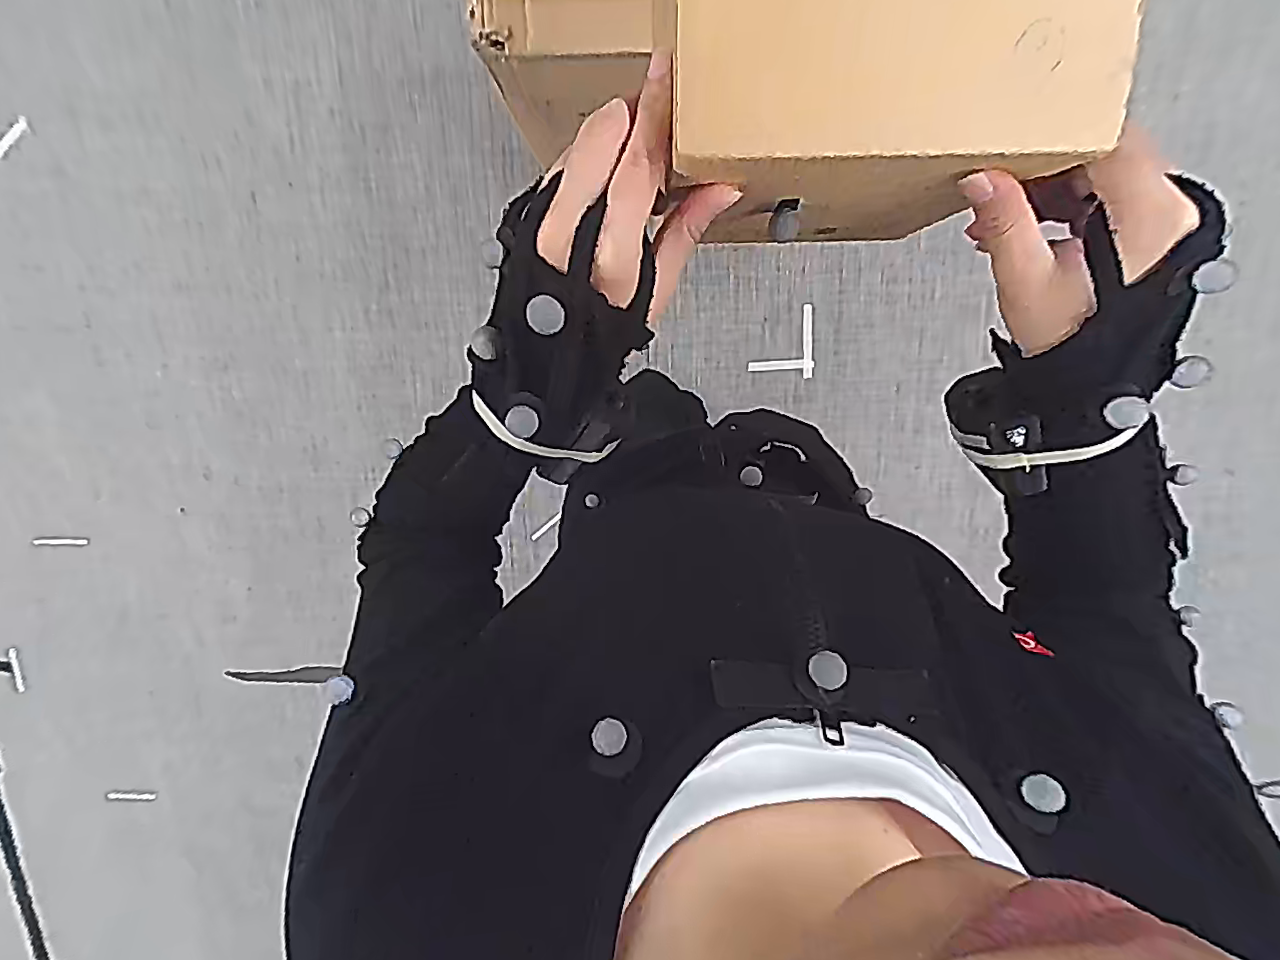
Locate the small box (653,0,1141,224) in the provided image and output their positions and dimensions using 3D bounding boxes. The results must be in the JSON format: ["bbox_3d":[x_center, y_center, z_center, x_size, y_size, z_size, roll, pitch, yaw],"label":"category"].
[{"bbox_3d":[0.091,-0.230,0.256,0.168,0.176,0.179,-1,102,0],"label":"small box"}]
